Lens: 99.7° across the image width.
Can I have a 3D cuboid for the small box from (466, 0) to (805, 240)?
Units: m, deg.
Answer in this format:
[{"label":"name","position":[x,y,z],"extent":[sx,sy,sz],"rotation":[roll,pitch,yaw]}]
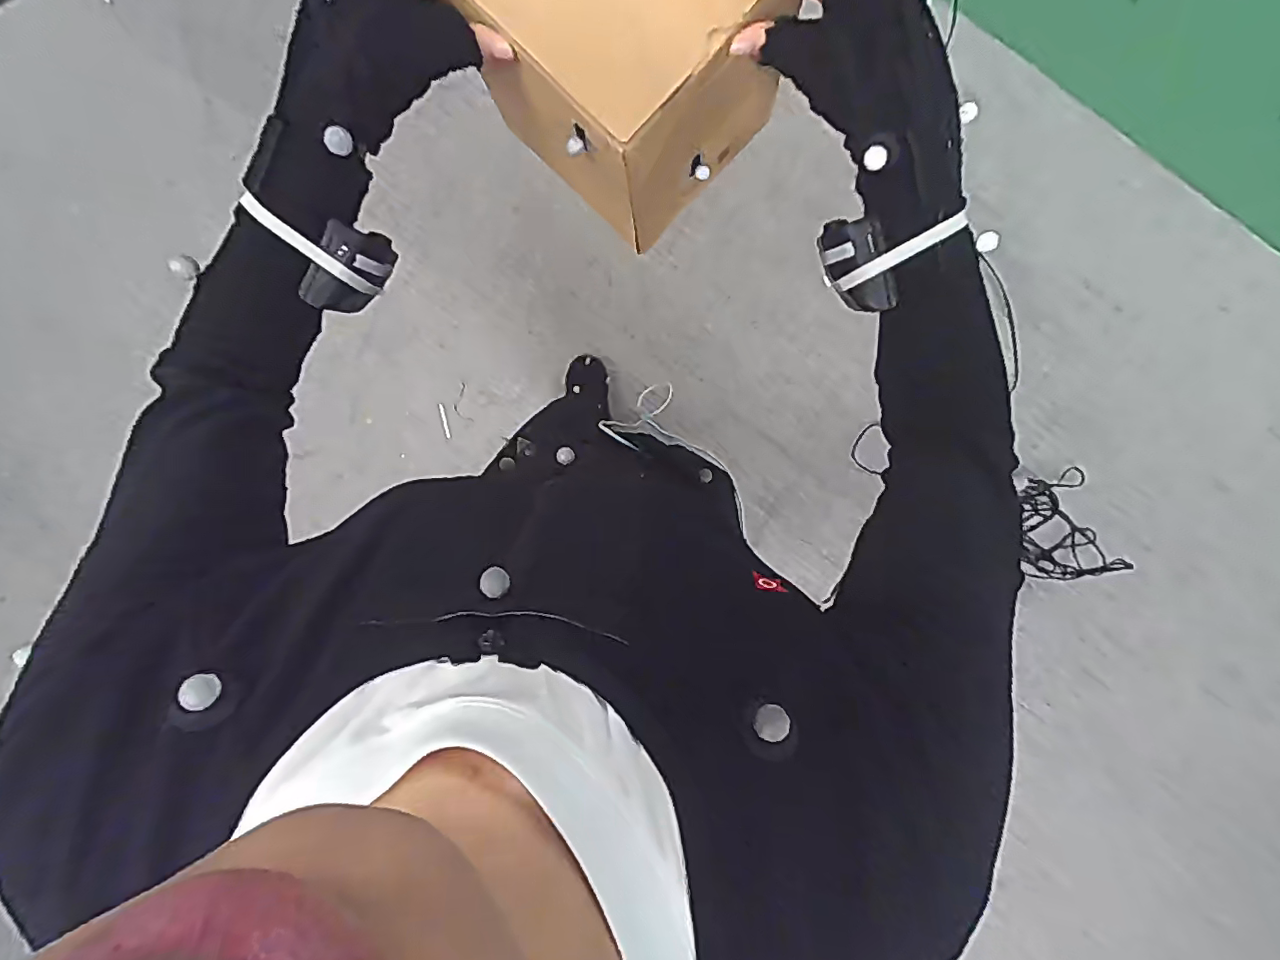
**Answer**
[{"label":"small box","position":[-0.006,-0.323,0.410],"extent":[0.168,0.176,0.179],"rotation":[-45,90,3]}]
